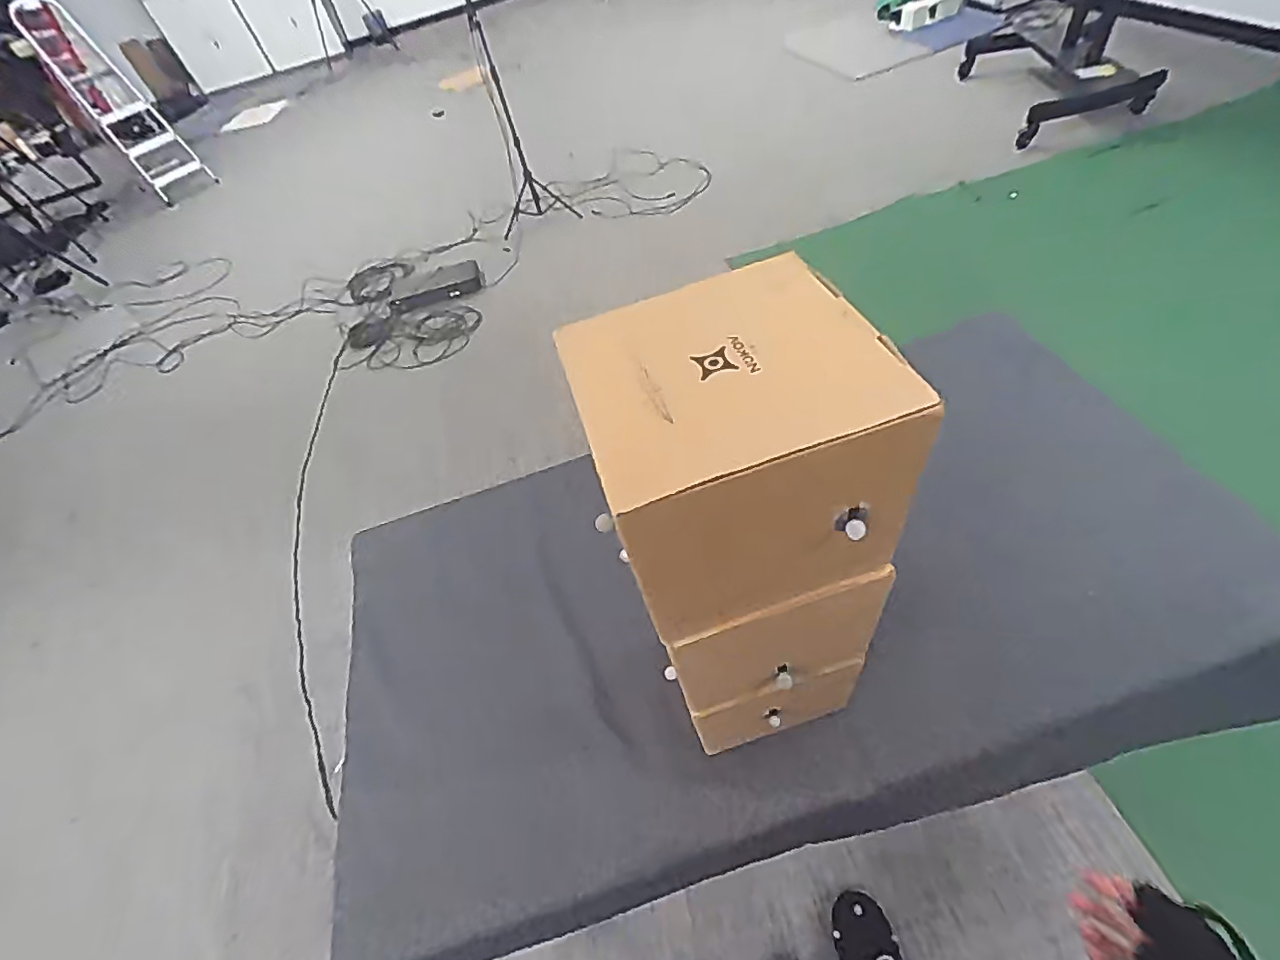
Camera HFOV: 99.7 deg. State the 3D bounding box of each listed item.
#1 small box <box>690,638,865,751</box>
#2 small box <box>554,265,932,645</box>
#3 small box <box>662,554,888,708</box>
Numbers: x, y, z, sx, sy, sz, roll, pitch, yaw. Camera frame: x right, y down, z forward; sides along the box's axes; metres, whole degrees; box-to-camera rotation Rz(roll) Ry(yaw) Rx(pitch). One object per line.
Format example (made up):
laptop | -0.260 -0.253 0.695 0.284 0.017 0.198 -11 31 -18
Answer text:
small box | 0.126 0.188 0.628 0.179 0.176 0.168 -20 52 -4
small box | 0.059 -0.012 0.379 0.179 0.176 0.168 -20 50 -2
small box | 0.094 0.087 0.503 0.179 0.176 0.168 -18 51 -2
